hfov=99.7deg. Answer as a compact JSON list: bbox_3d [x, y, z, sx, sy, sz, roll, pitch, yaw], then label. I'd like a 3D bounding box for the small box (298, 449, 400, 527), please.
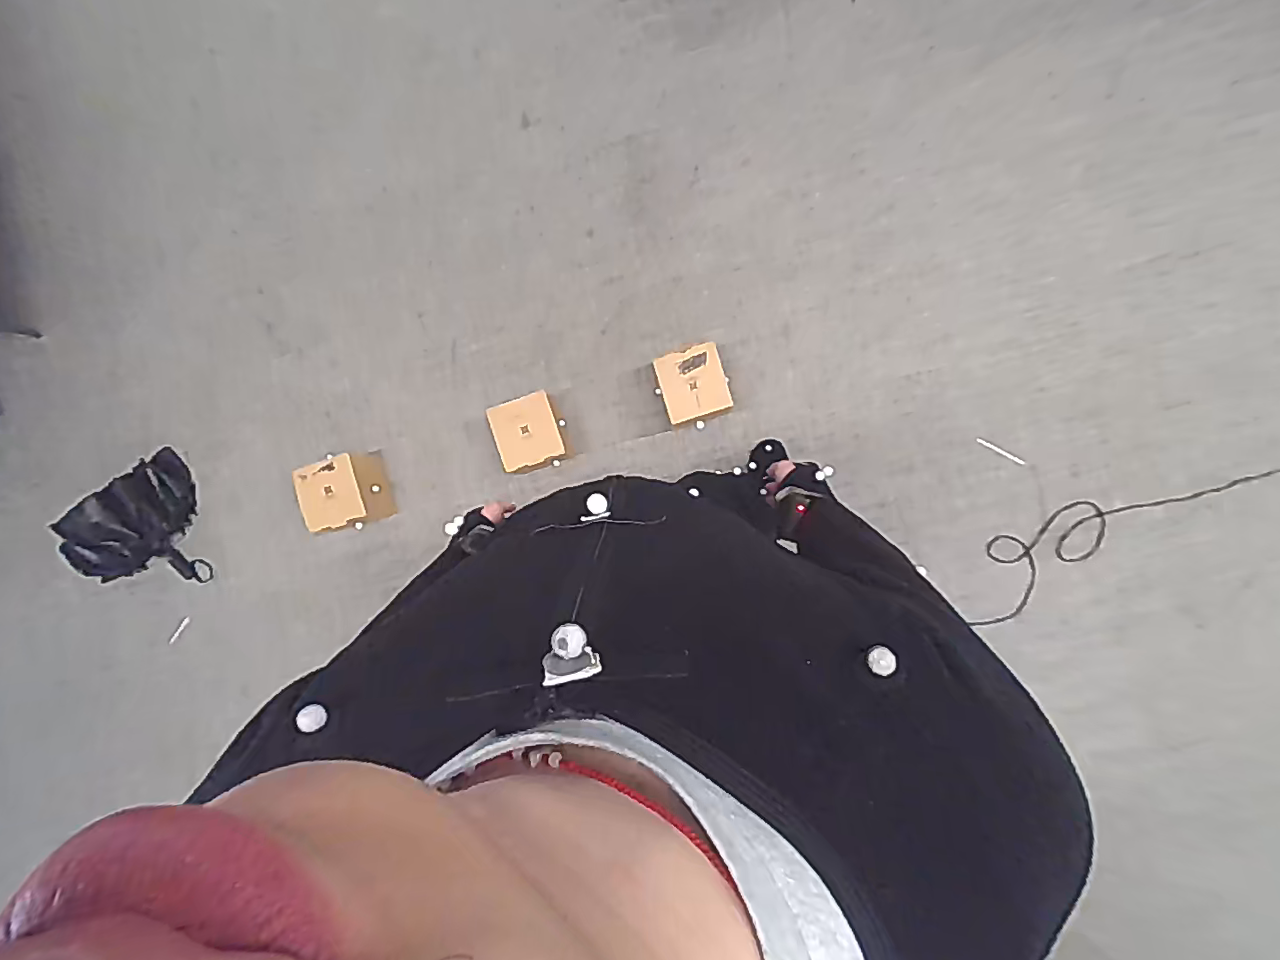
[{"bbox_3d":[-0.802,0.019,1.511,0.168,0.176,0.179,-17,89,3],"label":"small box"}]

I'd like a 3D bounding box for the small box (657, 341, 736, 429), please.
[{"bbox_3d":[0.148,-0.246,1.439,0.168,0.176,0.179,-16,89,5],"label":"small box"}]

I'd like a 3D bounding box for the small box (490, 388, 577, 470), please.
[{"bbox_3d":[-0.282,-0.132,1.476,0.168,0.176,0.179,-19,87,3],"label":"small box"}]
